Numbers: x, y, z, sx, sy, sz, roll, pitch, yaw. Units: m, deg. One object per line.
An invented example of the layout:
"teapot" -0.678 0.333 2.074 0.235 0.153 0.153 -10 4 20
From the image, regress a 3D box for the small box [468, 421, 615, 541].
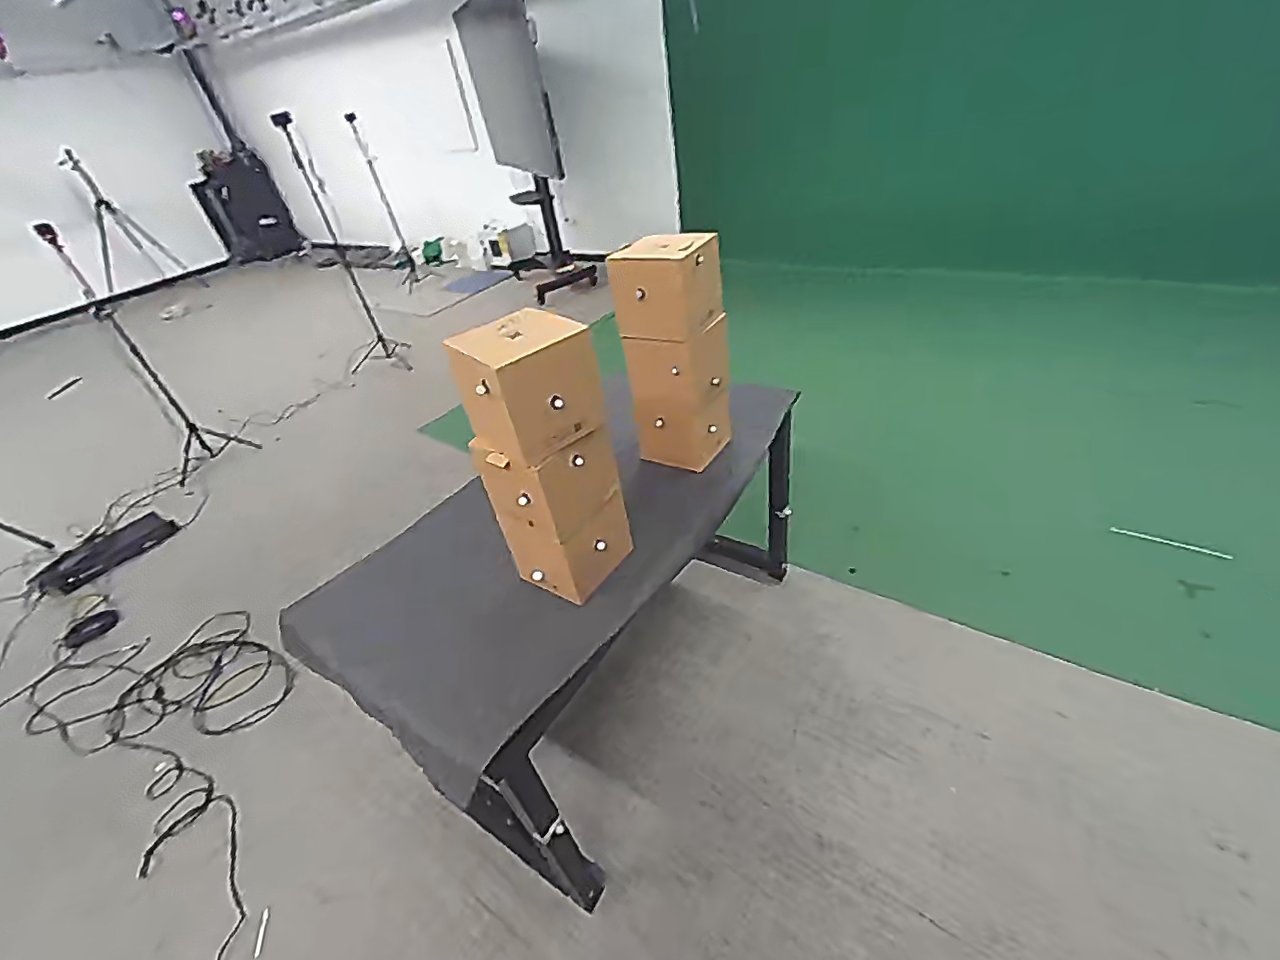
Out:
"small box" -0.161 -0.021 0.950 0.168 0.176 0.179 19 45 32

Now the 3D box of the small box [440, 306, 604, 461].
"small box" -0.177 -0.151 0.849 0.168 0.176 0.179 -33 43 -28

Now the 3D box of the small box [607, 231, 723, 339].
"small box" 0.059 -0.405 1.125 0.179 0.176 0.168 13 43 30

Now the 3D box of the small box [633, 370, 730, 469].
"small box" 0.110 -0.147 1.322 0.179 0.176 0.168 16 44 32

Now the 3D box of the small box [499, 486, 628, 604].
"small box" -0.138 0.105 1.050 0.168 0.176 0.179 17 45 32
